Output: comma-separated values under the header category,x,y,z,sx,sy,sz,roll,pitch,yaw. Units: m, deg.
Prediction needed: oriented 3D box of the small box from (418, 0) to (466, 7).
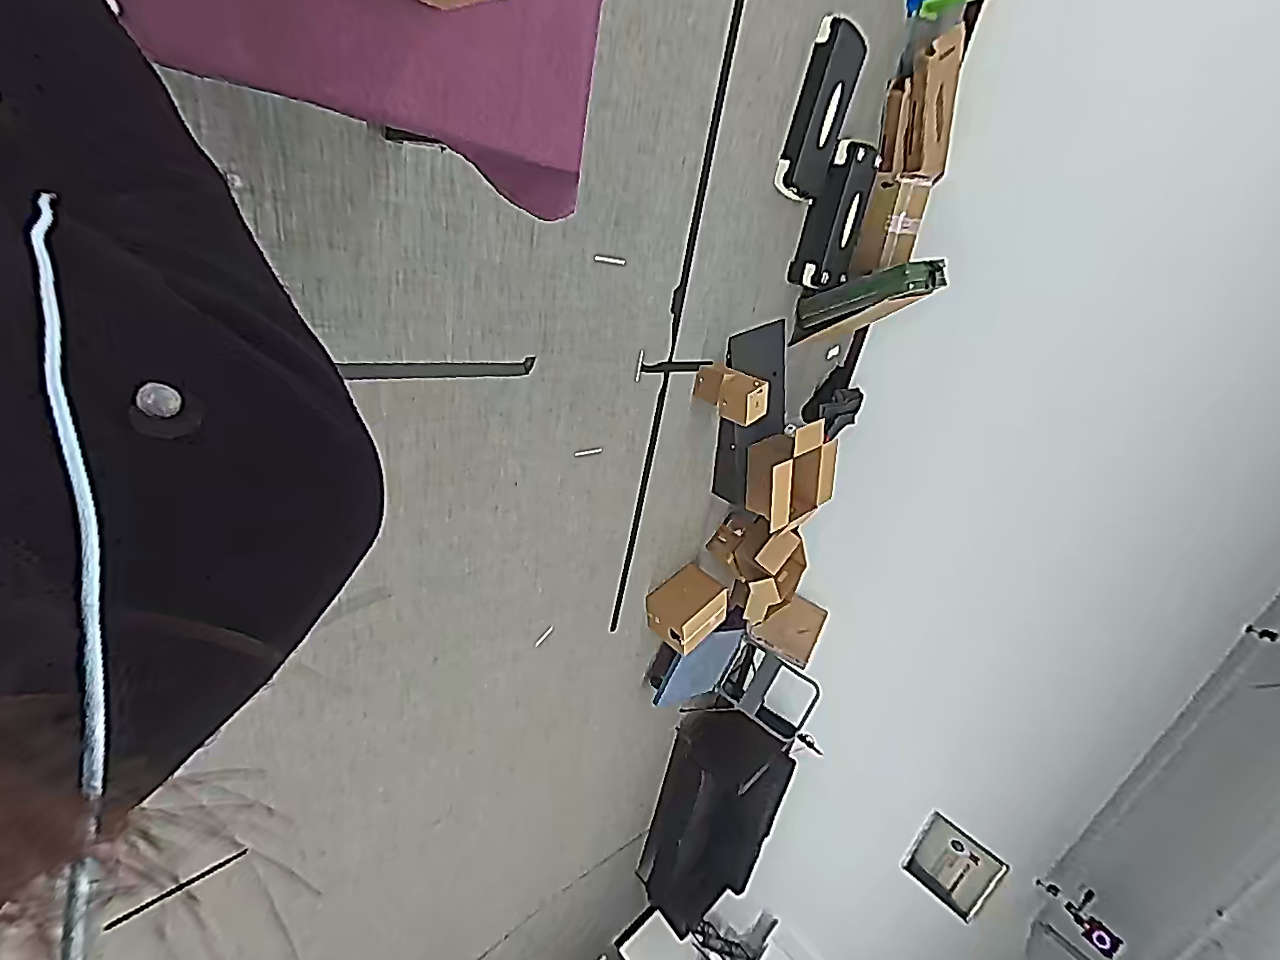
category,x,y,z,sx,sy,sz,roll,pitch,yaw
small box,-0.263,-0.678,0.612,0.168,0.176,0.179,-14,124,-44
